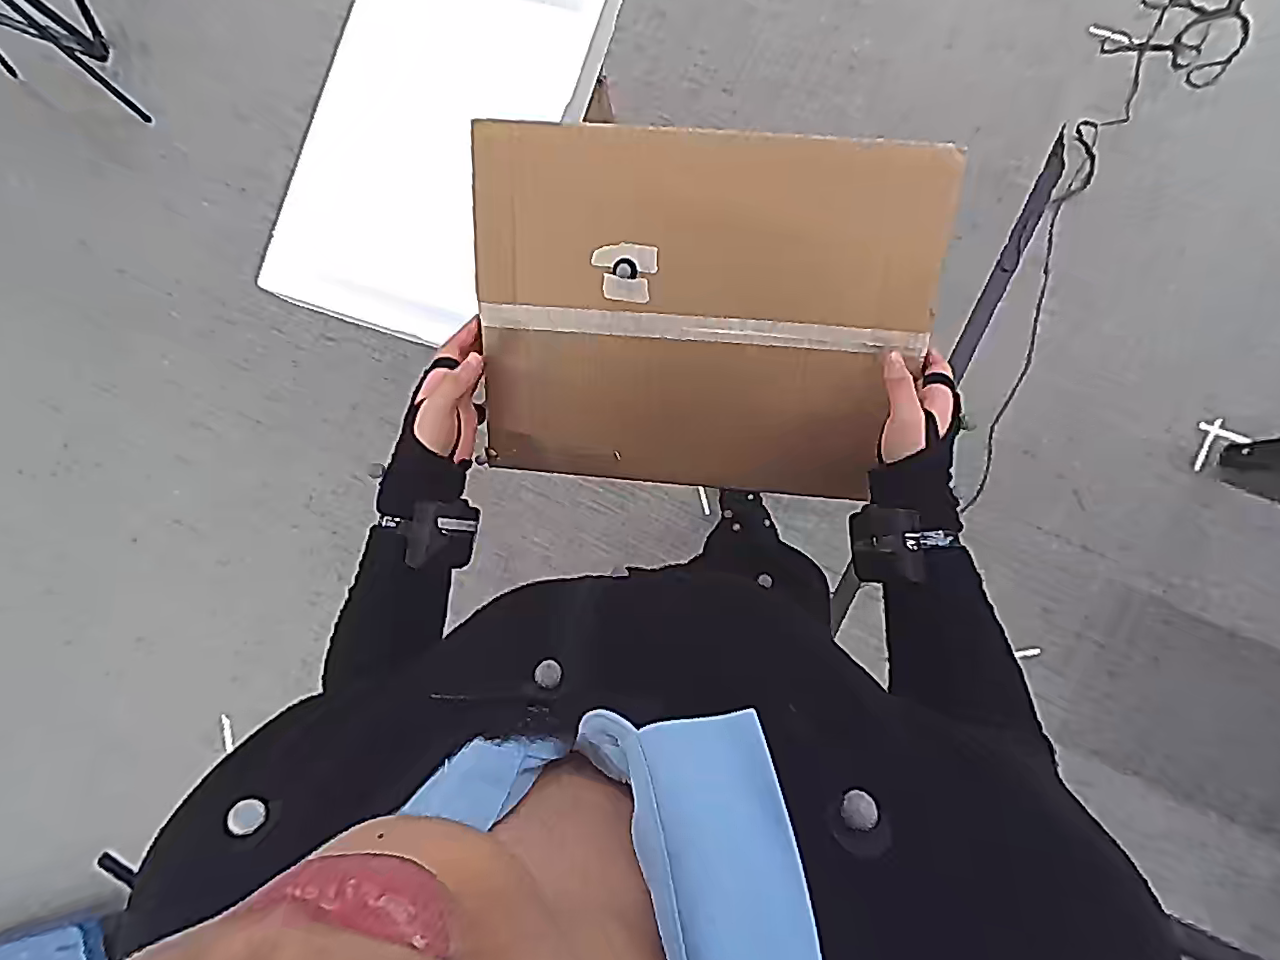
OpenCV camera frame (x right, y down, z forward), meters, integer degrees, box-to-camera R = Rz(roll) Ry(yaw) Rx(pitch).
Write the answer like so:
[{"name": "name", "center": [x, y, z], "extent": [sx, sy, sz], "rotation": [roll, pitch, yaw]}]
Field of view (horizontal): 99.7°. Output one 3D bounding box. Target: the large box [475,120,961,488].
[{"name": "large box", "center": [0.068, -0.202, 0.631], "extent": [0.408, 0.320, 0.320], "rotation": [5, 111, 4]}]
